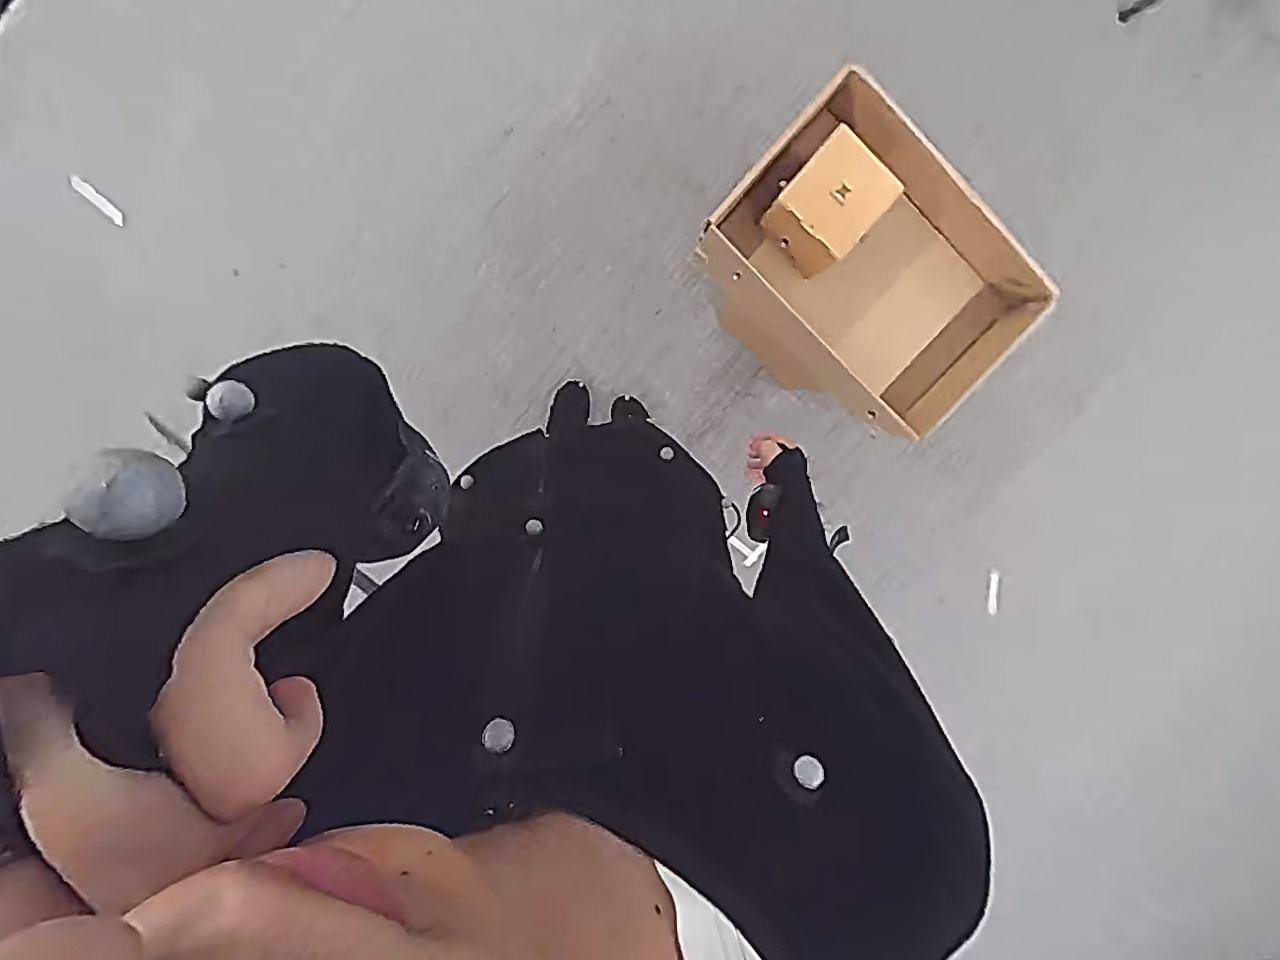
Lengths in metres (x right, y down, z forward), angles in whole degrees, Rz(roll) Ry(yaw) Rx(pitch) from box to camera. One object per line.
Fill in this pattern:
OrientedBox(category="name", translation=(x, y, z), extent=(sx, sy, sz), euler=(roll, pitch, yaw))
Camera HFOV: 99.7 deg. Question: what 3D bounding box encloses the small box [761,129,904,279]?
OrientedBox(category="small box", translation=(0.366, -0.530, 1.067), extent=(0.168, 0.176, 0.179), euler=(41, 95, -8))
